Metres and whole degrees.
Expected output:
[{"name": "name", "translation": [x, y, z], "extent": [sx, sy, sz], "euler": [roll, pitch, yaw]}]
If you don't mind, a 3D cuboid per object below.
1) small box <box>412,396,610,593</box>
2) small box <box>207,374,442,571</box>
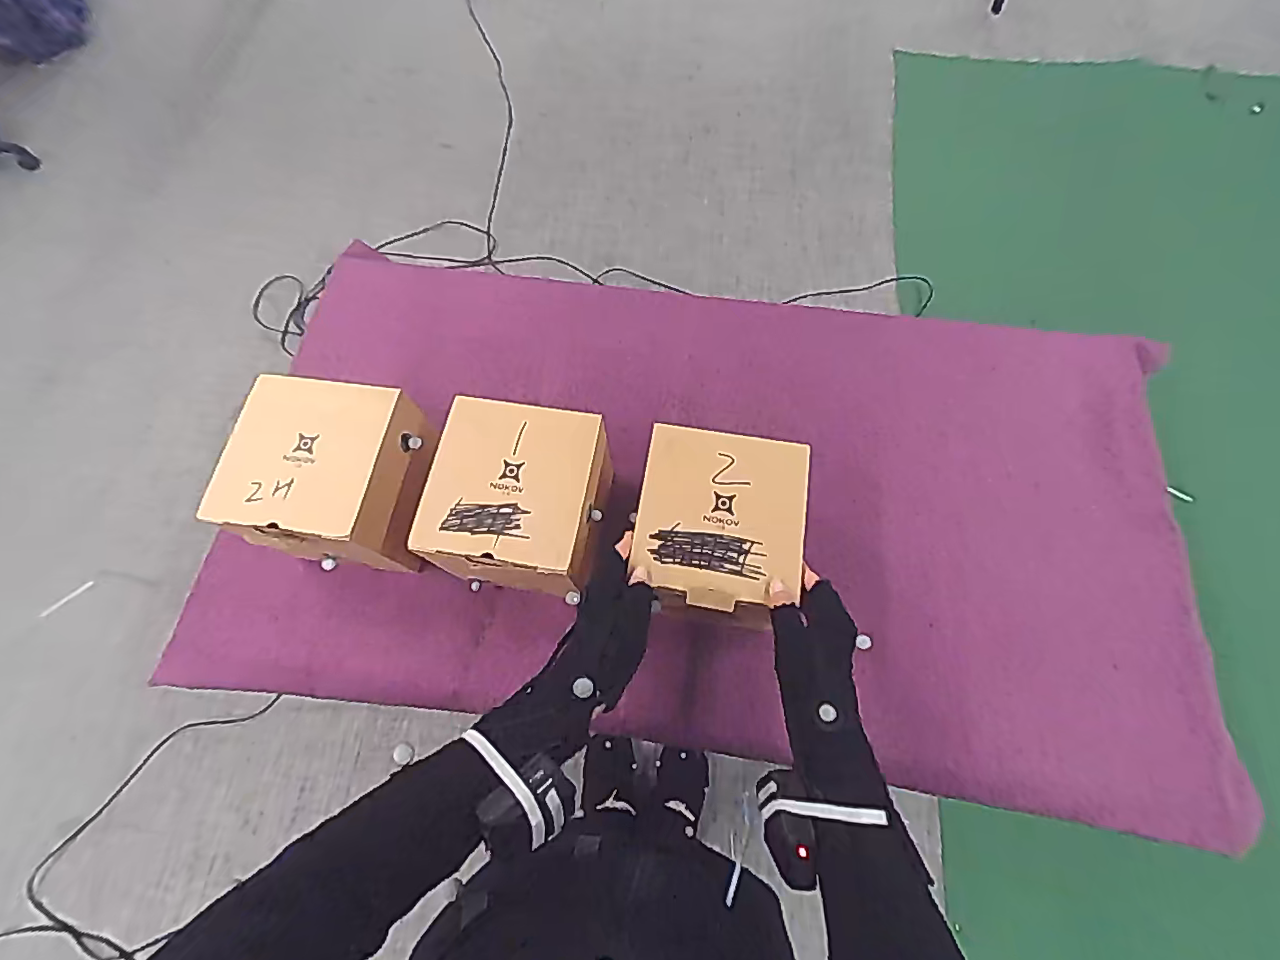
[{"name": "small box", "translation": [-0.133, 0.027, 0.635], "extent": [0.168, 0.176, 0.179], "euler": [8, 69, 5]}, {"name": "small box", "translation": [-0.351, -0.002, 0.651], "extent": [0.168, 0.176, 0.179], "euler": [7, 69, 5]}]
